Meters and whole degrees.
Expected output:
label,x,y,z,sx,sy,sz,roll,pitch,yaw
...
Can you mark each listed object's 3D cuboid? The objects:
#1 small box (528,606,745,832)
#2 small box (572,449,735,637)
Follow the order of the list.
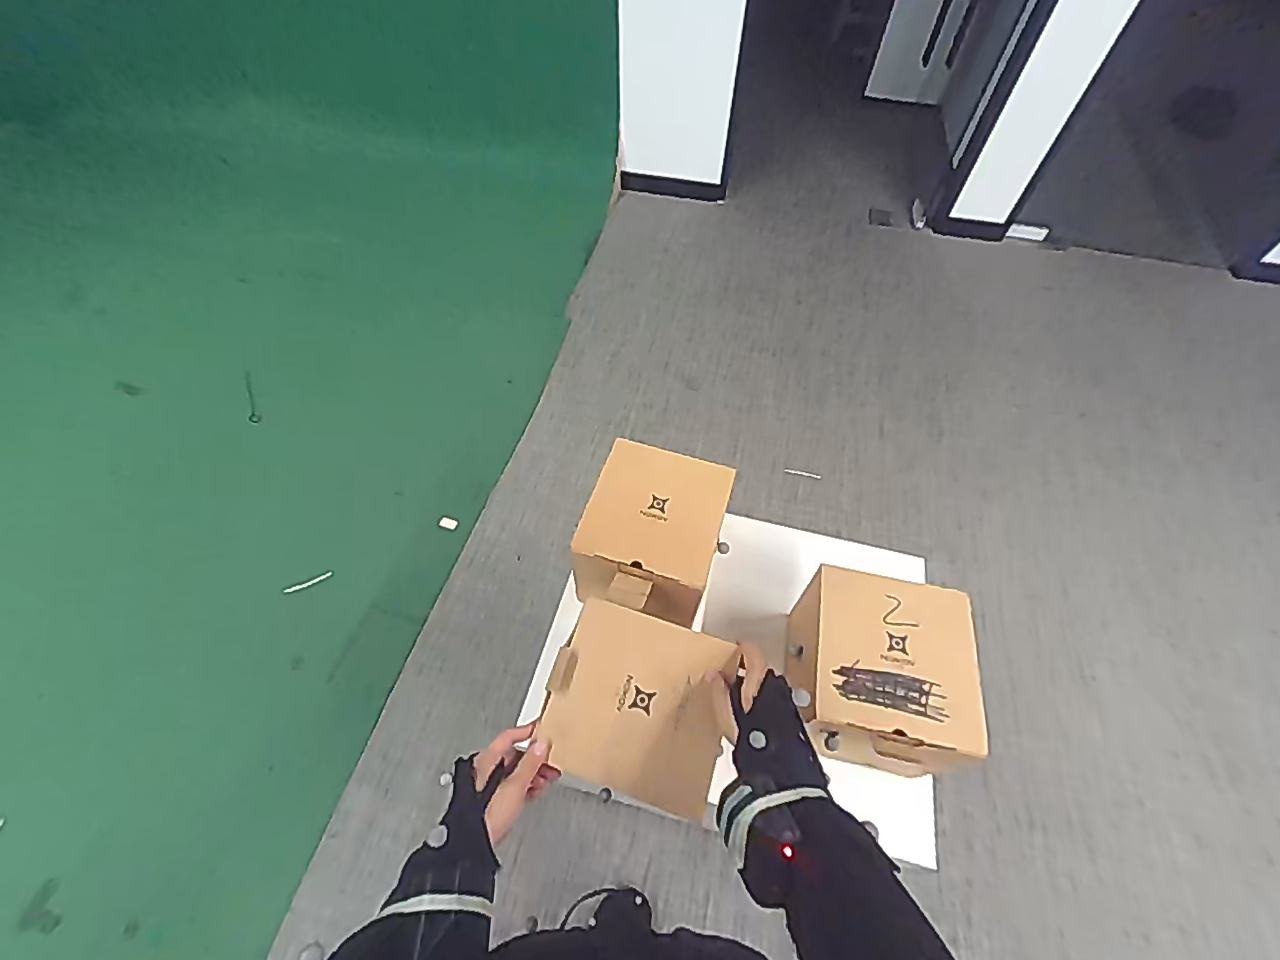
label,x,y,z,sx,sy,sz,roll,pitch,yaw
small box,0.001,0.263,0.600,0.179,0.176,0.168,16,63,8
small box,0.017,0.092,0.729,0.168,0.176,0.179,16,57,8
